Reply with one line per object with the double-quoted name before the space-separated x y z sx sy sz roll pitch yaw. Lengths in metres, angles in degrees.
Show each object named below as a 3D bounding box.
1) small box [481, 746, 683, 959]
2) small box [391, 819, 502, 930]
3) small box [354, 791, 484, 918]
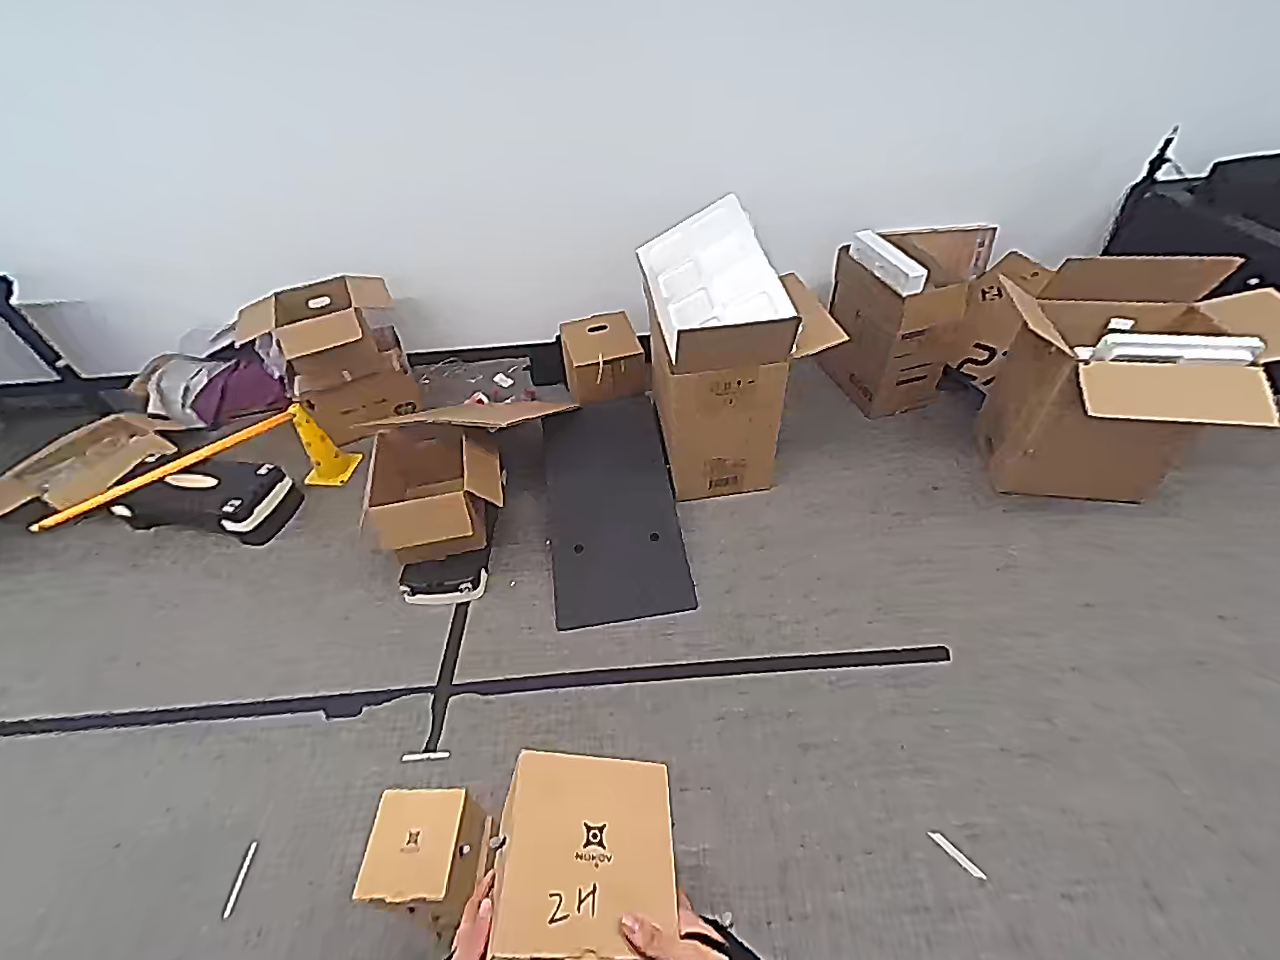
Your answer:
"small box" -0.064 0.413 0.563 0.168 0.176 0.179 12 35 -10
"small box" -0.393 0.842 1.153 0.179 0.176 0.168 -3 45 0
"small box" -0.412 0.723 1.044 0.168 0.176 0.179 -2 45 1
